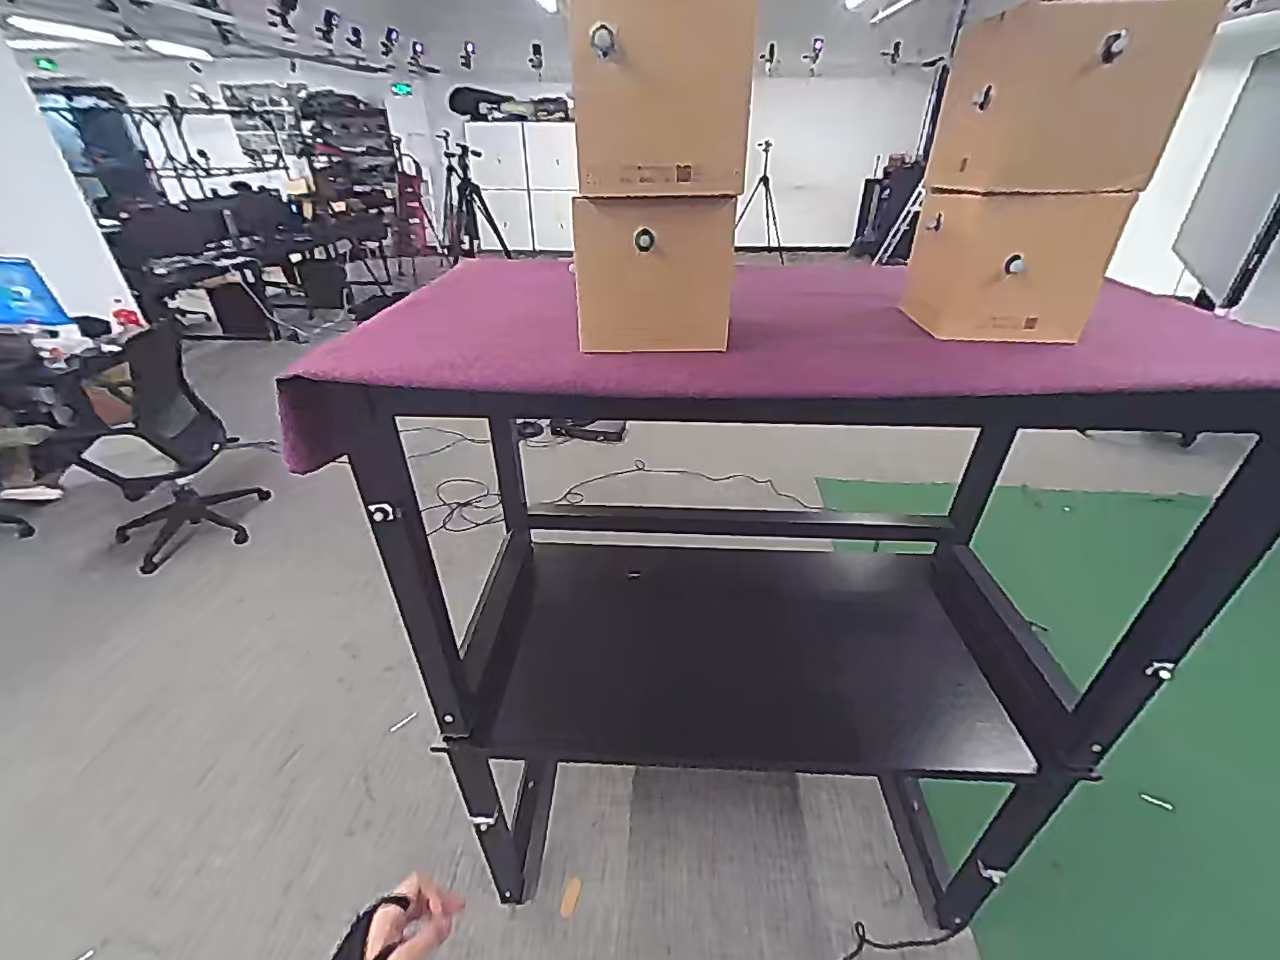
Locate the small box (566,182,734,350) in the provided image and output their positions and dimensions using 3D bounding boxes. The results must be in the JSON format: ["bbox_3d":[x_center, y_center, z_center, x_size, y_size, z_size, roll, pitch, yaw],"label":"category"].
[{"bbox_3d":[0.011,-0.263,0.661,0.179,0.176,0.168,-1,32,-1],"label":"small box"}]

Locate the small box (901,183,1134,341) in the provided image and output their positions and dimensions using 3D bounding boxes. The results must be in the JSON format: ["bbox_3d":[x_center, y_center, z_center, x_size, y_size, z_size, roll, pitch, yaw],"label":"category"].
[{"bbox_3d":[0.459,-0.283,0.694,0.168,0.176,0.179,3,31,6],"label":"small box"}]

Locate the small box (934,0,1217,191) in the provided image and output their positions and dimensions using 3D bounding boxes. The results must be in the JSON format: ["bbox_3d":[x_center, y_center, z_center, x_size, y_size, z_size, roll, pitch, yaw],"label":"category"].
[{"bbox_3d":[0.454,-0.419,0.602,0.179,0.176,0.168,1,32,3],"label":"small box"}]
